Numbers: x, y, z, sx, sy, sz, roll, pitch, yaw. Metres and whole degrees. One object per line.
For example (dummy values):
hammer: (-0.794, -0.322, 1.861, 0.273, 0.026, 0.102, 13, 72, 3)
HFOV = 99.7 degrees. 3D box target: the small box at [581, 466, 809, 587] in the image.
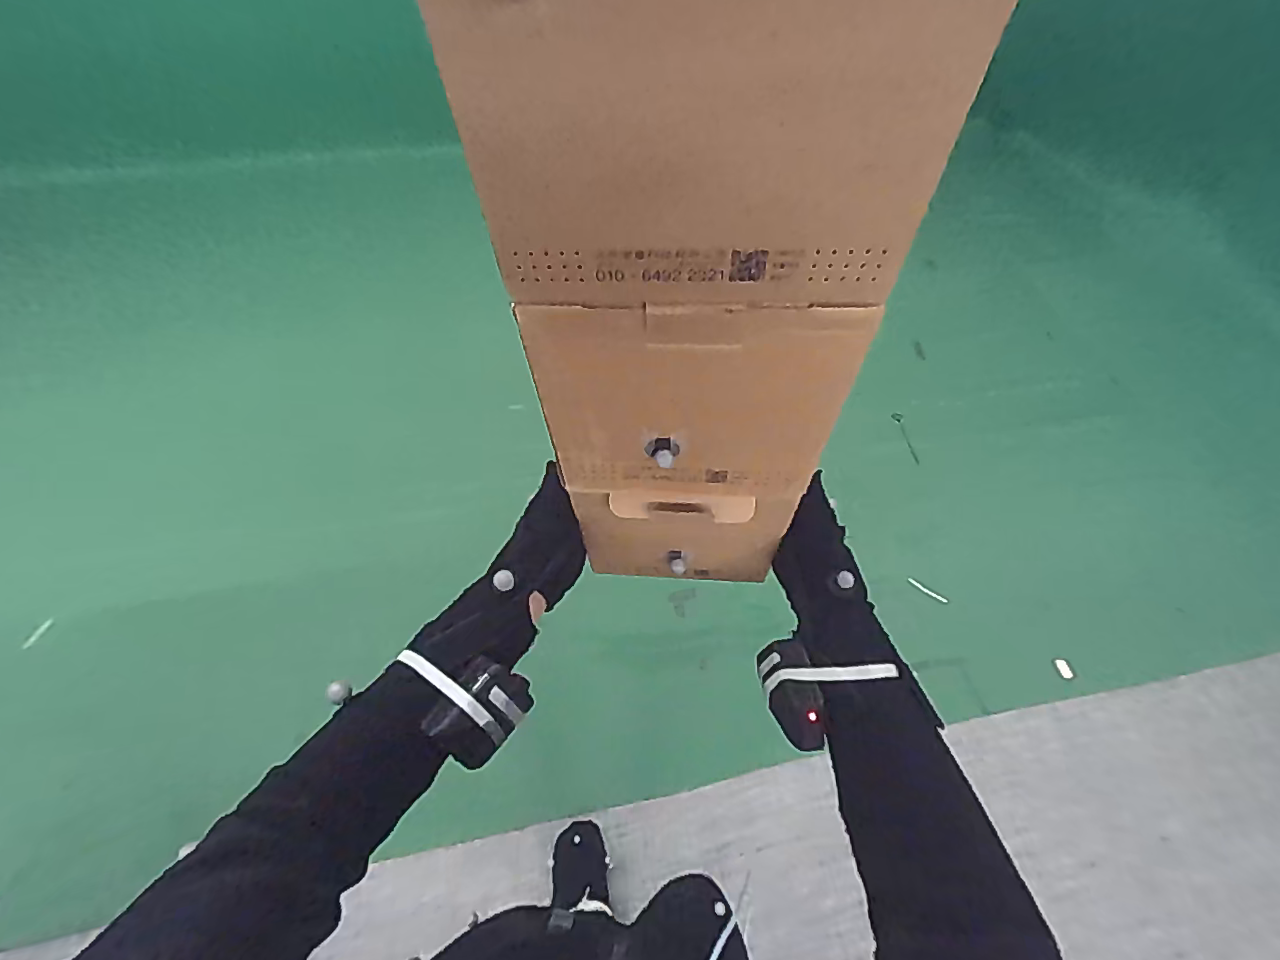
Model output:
small box: (0.047, -0.019, 0.494, 0.168, 0.176, 0.179, 3, 59, 4)

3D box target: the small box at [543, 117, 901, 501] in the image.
small box: (0.041, -0.105, 0.355, 0.168, 0.176, 0.179, 1, 59, 2)
